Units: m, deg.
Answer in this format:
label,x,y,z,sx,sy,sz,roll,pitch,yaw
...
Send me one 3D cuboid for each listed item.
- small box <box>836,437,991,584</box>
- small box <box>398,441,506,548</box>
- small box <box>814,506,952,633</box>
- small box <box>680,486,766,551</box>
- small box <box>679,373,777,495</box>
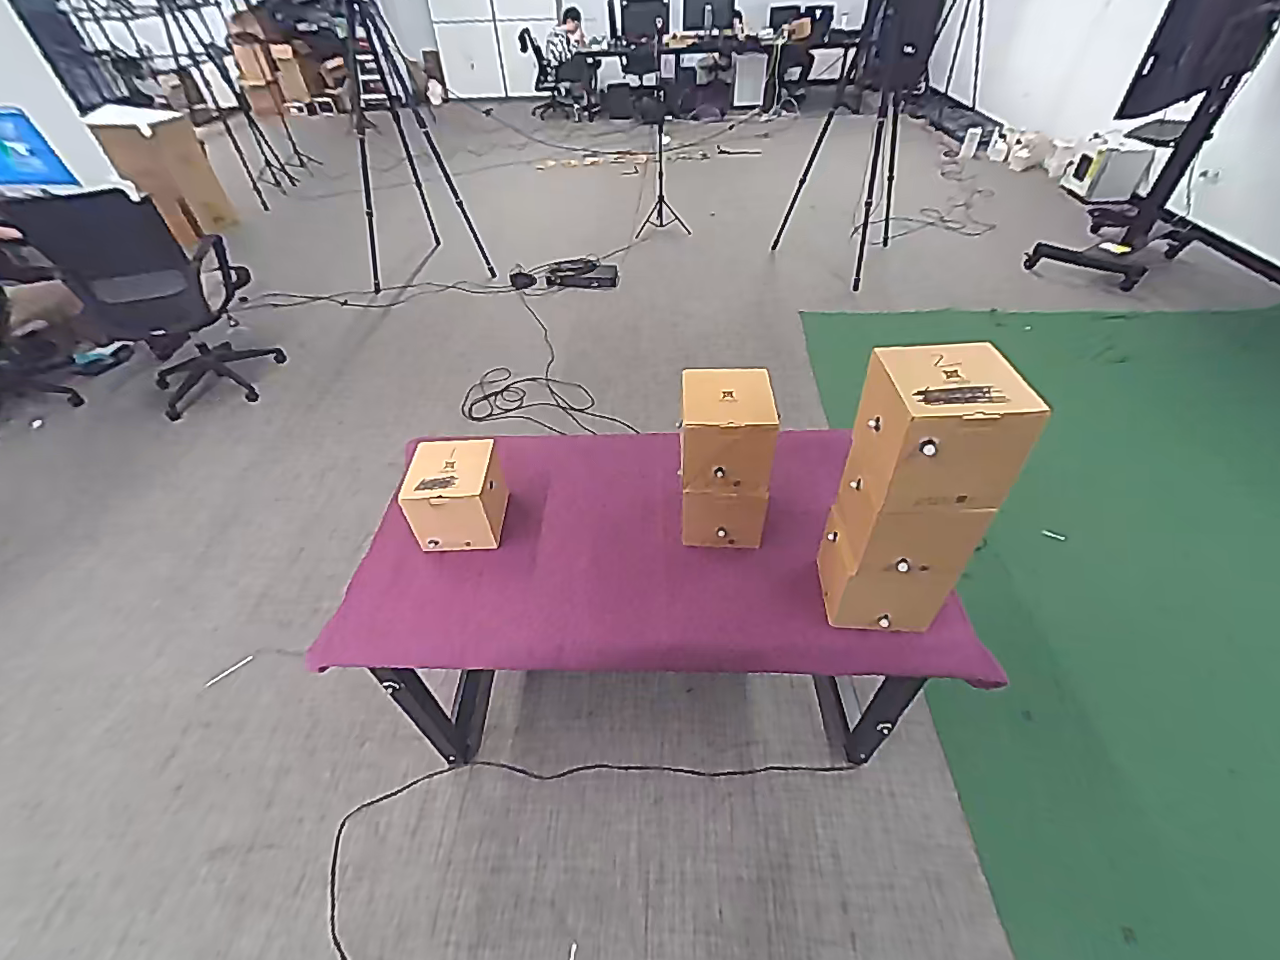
label,x,y,z,sx,sy,sz,roll,pitch,yaw
small box,0.434,0.049,0.895,0.168,0.176,0.179,1,43,6
small box,-0.396,0.037,1.176,0.168,0.176,0.179,-2,44,0
small box,0.437,0.168,1.006,0.179,0.176,0.168,2,43,5
small box,0.173,0.030,1.161,0.168,0.176,0.179,2,45,5
small box,0.161,-0.090,1.052,0.168,0.176,0.179,0,45,2
